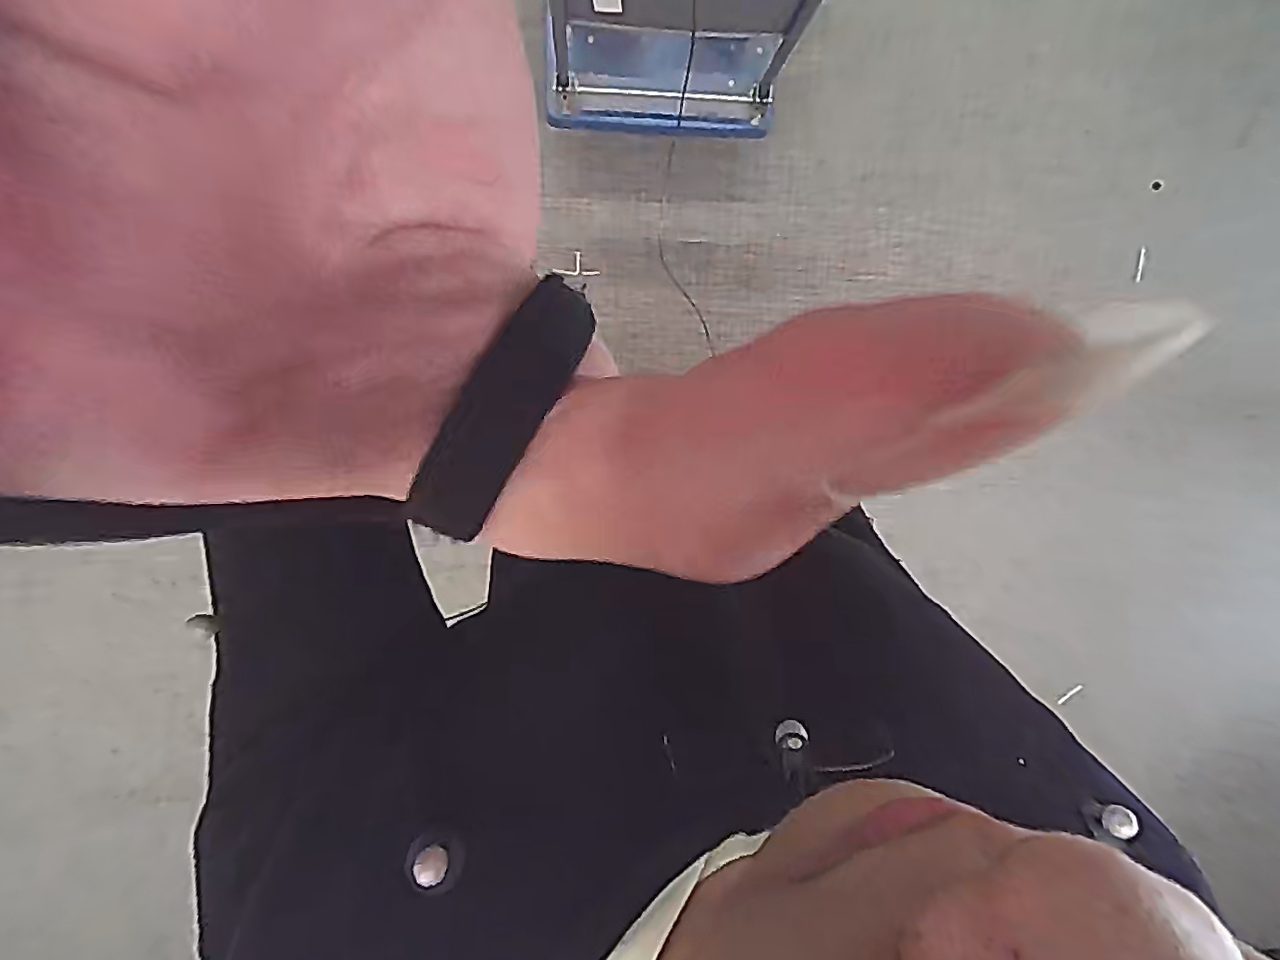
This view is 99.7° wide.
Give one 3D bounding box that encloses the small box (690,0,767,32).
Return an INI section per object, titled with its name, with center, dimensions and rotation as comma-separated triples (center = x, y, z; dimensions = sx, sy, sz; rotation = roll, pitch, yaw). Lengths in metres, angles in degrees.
[small box]
center = 0.210, -1.181, 1.233
dimensions = 0.168, 0.176, 0.179
rotation = 1, 98, -4
